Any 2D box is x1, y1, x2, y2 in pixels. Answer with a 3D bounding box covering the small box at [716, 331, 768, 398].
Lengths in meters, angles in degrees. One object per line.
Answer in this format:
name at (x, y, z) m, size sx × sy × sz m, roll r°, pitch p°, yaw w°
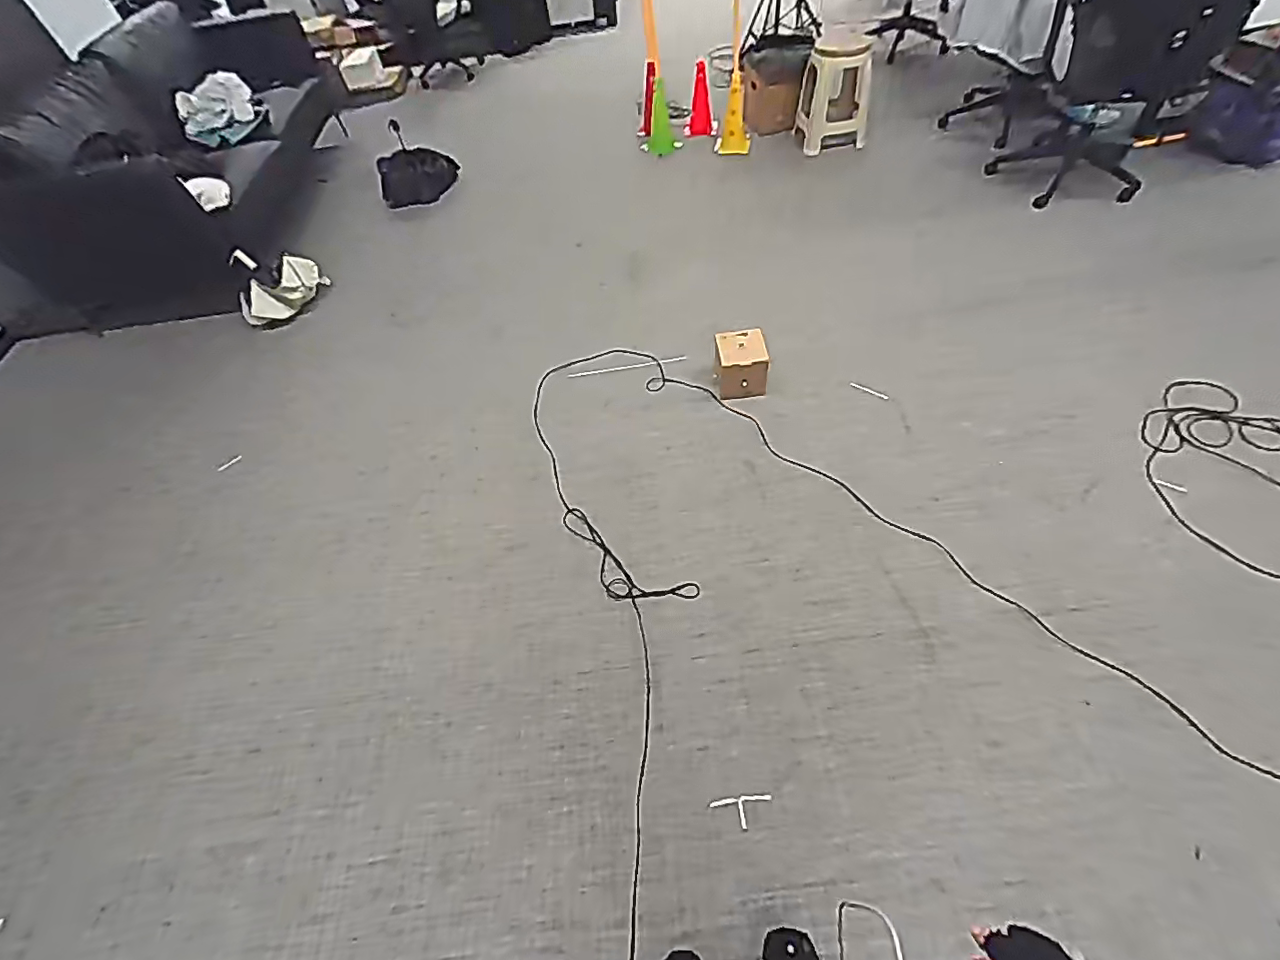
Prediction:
small box at (0.369, -0.415, 1.972) m, size 0.168 × 0.176 × 0.179 m, roll -6°, pitch 54°, yaw 4°
